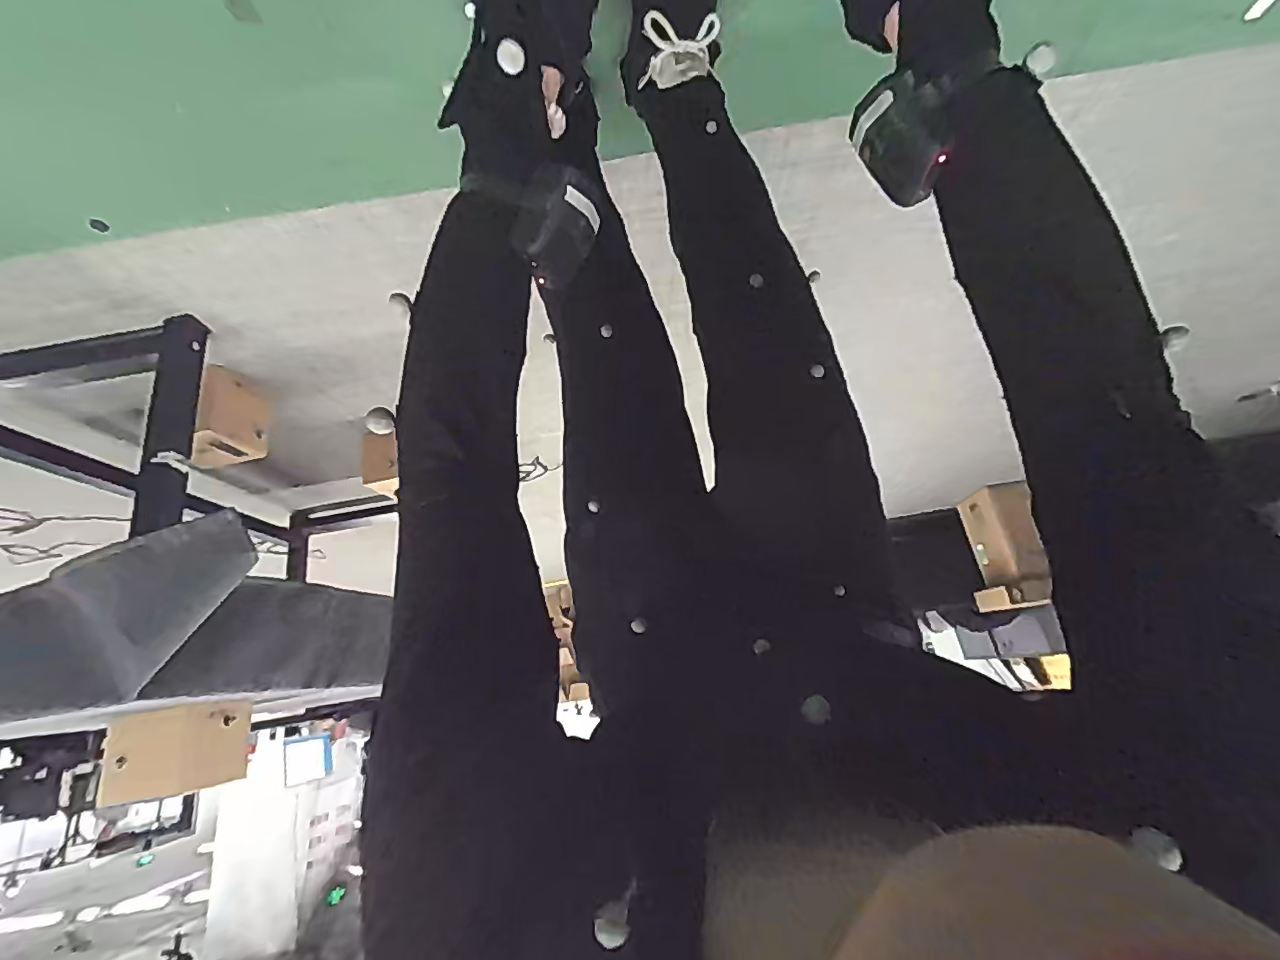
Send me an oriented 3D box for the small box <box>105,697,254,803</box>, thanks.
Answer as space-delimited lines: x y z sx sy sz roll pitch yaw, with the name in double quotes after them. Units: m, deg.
-0.955 0.559 1.140 0.179 0.176 0.168 -10 162 4 "small box"
